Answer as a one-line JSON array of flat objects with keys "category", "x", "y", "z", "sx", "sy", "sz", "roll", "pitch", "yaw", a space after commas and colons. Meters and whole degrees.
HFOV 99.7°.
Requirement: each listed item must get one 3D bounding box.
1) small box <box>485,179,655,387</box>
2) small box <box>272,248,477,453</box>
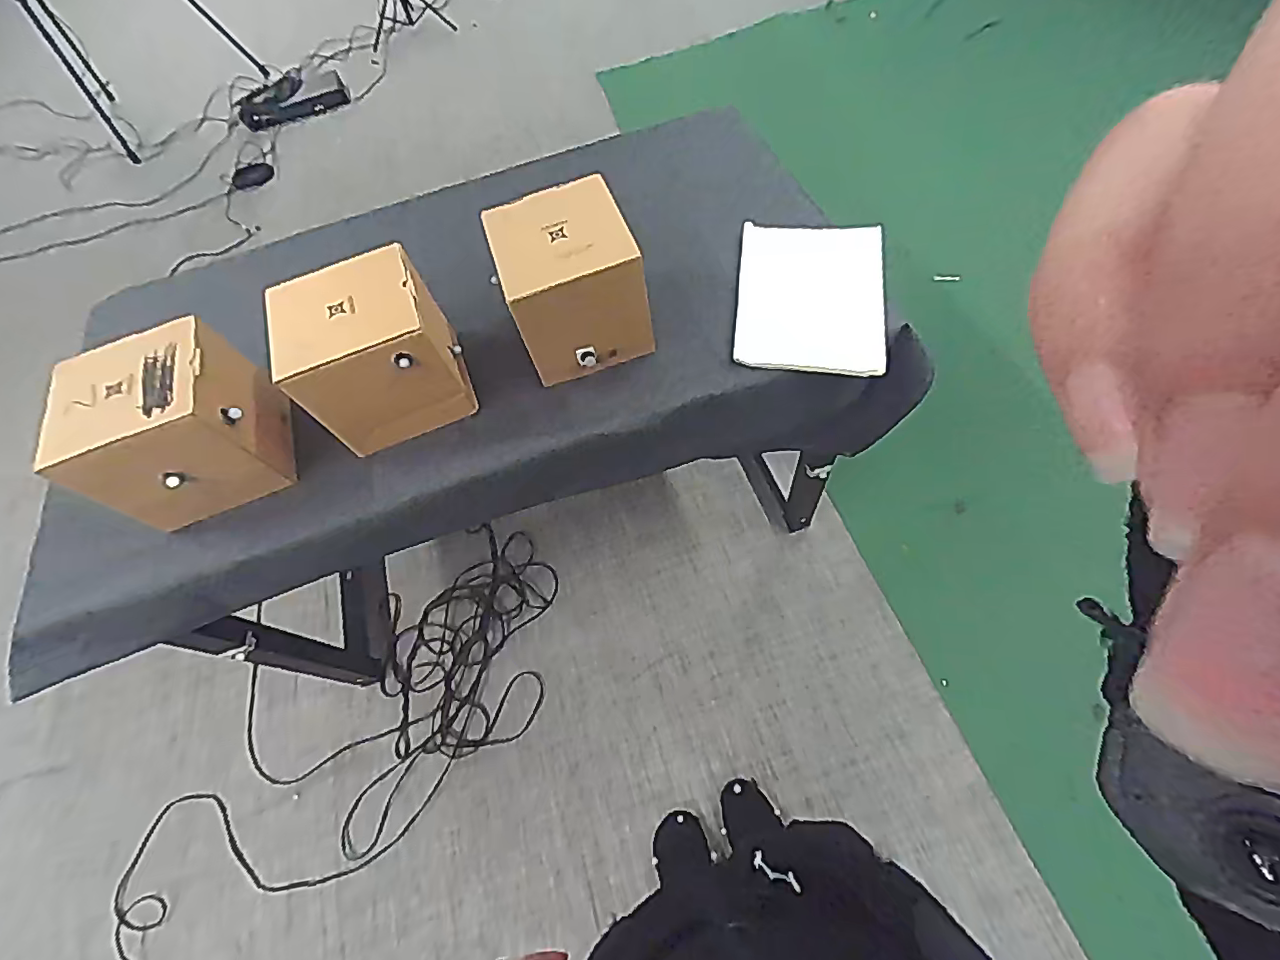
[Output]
[{"category": "small box", "x": -0.089, "y": -0.259, "z": 0.731, "sx": 0.168, "sy": 0.176, "sz": 0.179, "roll": -21, "pitch": 62, "yaw": -2}, {"category": "small box", "x": -0.341, "y": -0.162, "z": 0.712, "sx": 0.179, "sy": 0.176, "sz": 0.168, "roll": -23, "pitch": 61, "yaw": -5}]
